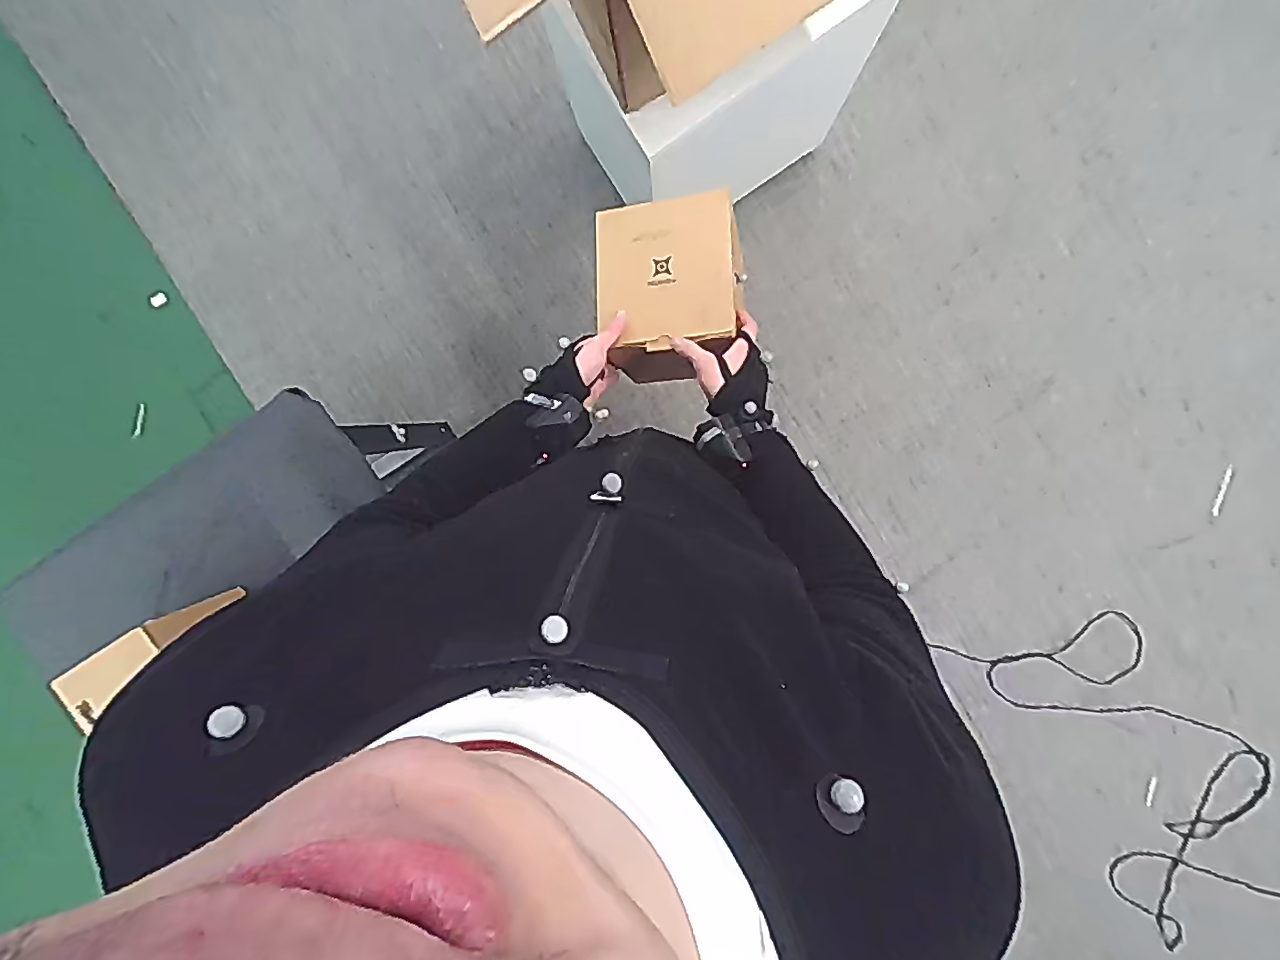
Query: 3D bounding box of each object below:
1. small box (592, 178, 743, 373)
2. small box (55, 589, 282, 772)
[{"bbox_3d":[0.043,-0.246,0.701,0.168,0.176,0.179,-3,83,14],"label":"small box"},{"bbox_3d":[-0.695,0.292,0.827,0.179,0.176,0.168,-31,94,5],"label":"small box"}]
